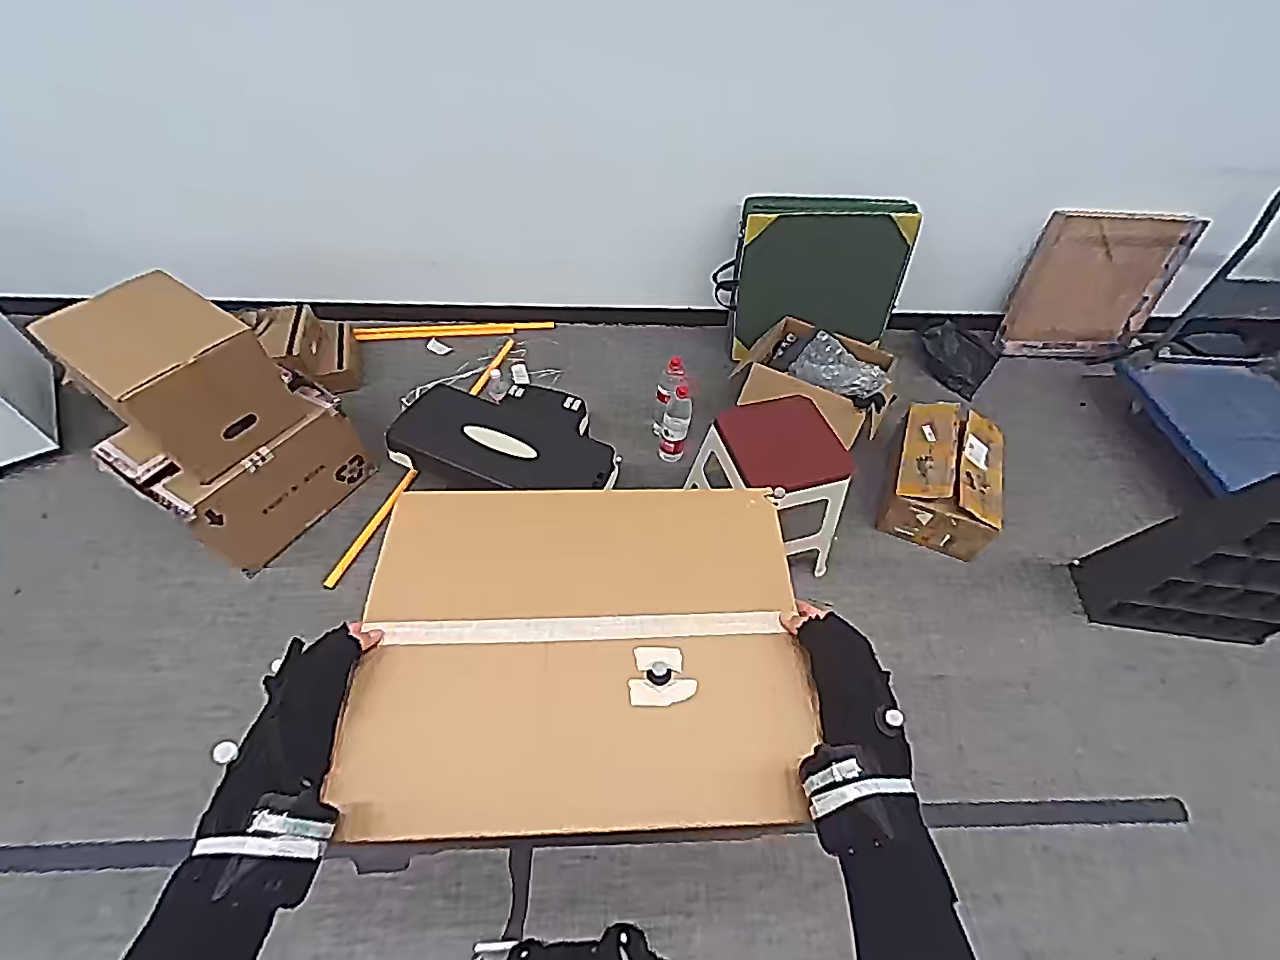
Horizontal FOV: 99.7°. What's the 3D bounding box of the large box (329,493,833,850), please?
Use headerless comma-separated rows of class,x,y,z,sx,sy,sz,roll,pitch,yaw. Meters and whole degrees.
large box,-0.055,0.228,0.627,0.408,0.320,0.320,0,55,-3
